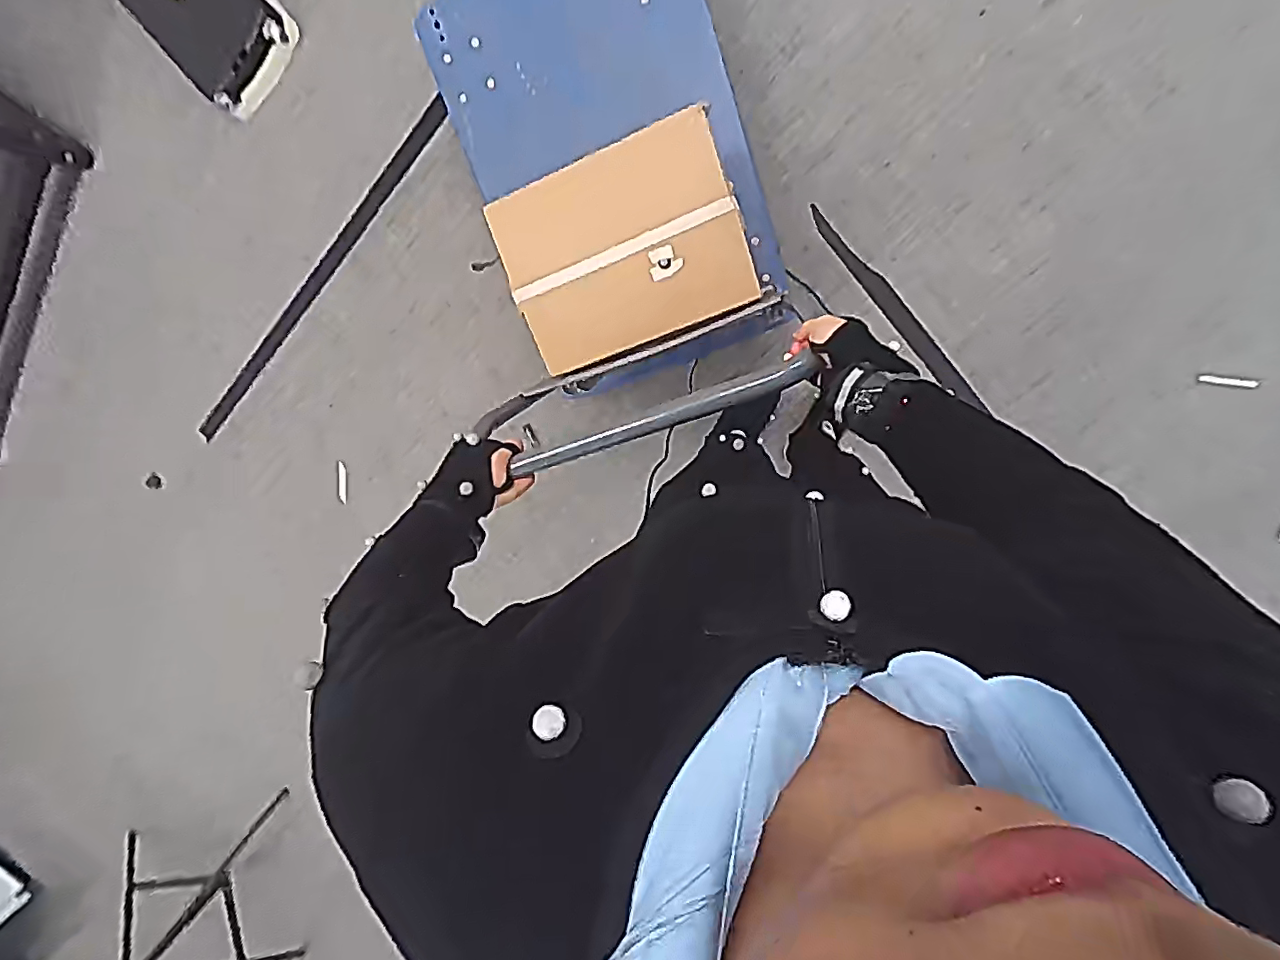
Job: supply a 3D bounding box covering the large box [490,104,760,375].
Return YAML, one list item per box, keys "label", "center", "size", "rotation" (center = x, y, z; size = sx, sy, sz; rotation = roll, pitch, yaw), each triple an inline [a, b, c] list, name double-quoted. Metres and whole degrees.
- label: "large box"
  center: [-0.009, -0.435, 1.071]
  size: [0.408, 0.320, 0.320]
  rotation: [-19, 104, 13]
